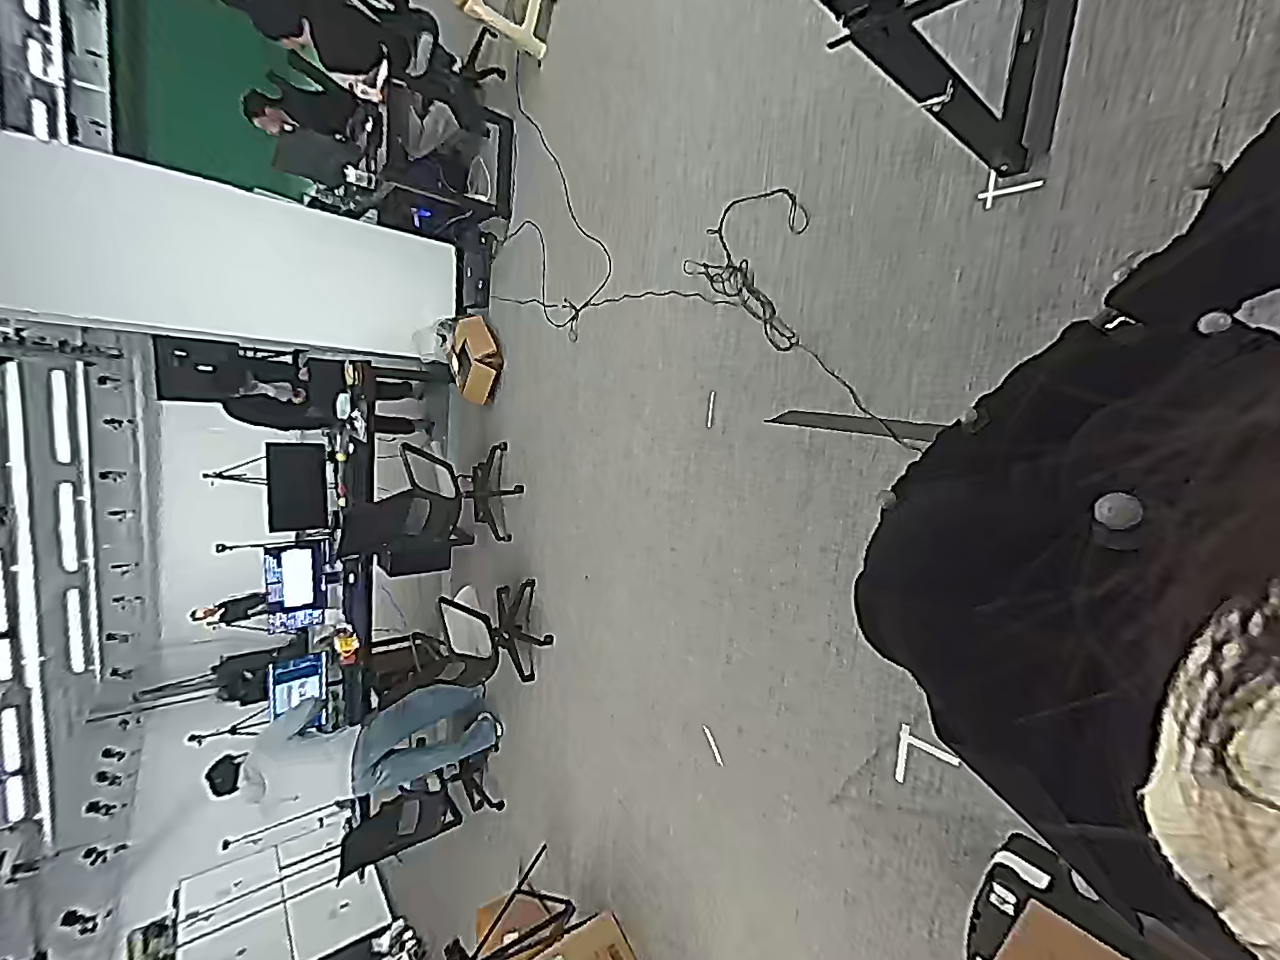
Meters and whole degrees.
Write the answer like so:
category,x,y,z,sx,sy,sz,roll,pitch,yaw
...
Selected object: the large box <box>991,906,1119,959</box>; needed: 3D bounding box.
category,x,y,z,sx,sy,sz,roll,pitch,yaw
large box,0.822,1.072,0.921,0.408,0.320,0.320,13,102,49
